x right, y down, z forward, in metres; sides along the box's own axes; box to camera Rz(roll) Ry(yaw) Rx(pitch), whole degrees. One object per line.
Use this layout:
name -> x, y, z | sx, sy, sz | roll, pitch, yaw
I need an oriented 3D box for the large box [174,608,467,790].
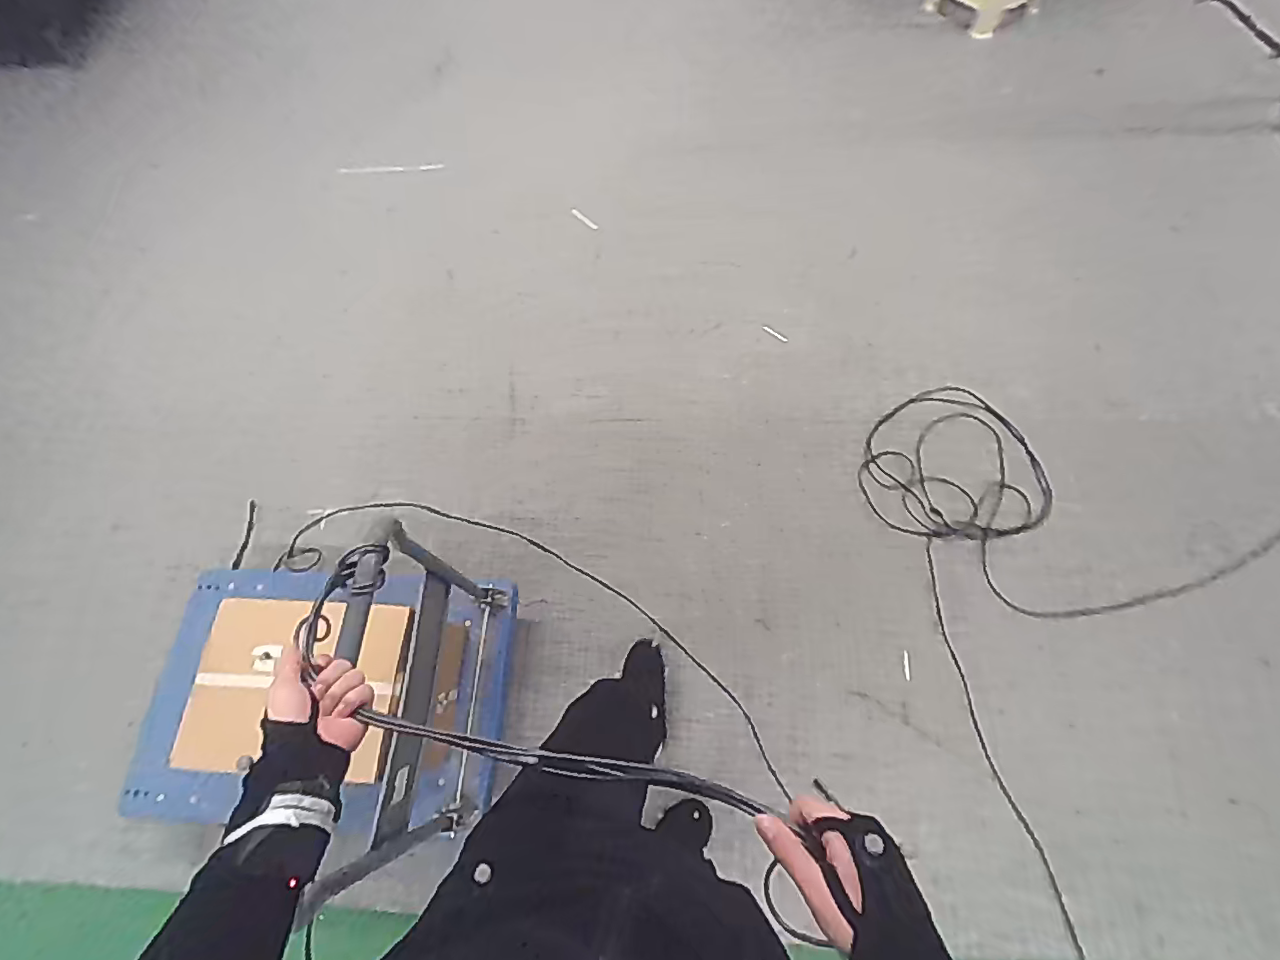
large box -> -0.637, 0.459, 1.162 | 0.408, 0.320, 0.320 | 1, 66, 6
